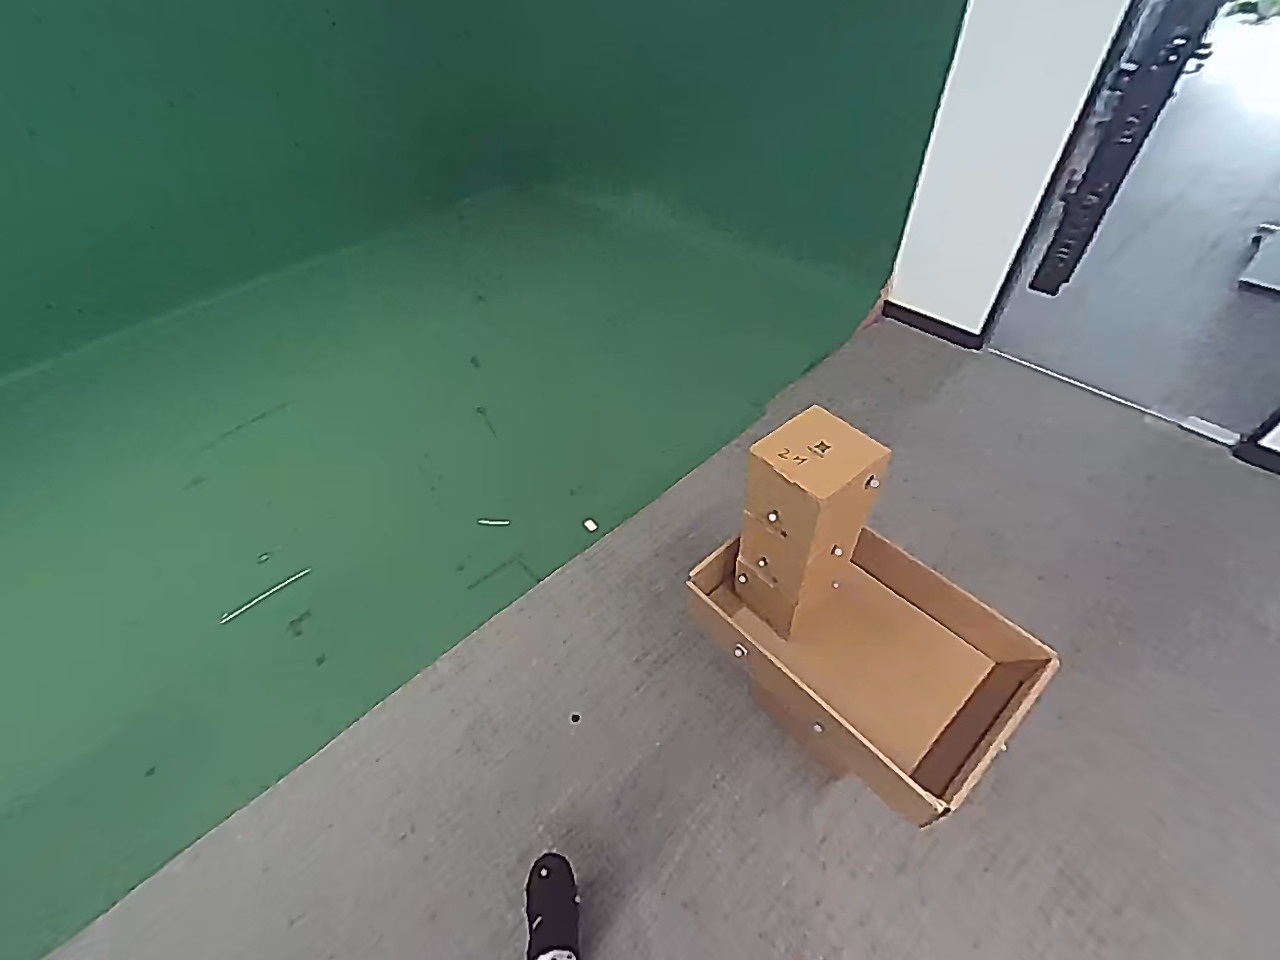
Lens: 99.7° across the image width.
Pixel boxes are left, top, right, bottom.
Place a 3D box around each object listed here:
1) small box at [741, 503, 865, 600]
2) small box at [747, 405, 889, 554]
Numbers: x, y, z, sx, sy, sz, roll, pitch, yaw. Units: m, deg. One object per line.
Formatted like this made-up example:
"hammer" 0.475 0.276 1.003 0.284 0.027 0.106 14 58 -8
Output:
"small box" 0.324 0.109 1.112 0.179 0.176 0.168 -33 54 -21
"small box" 0.313 0.000 0.989 0.179 0.176 0.168 -31 53 -20
